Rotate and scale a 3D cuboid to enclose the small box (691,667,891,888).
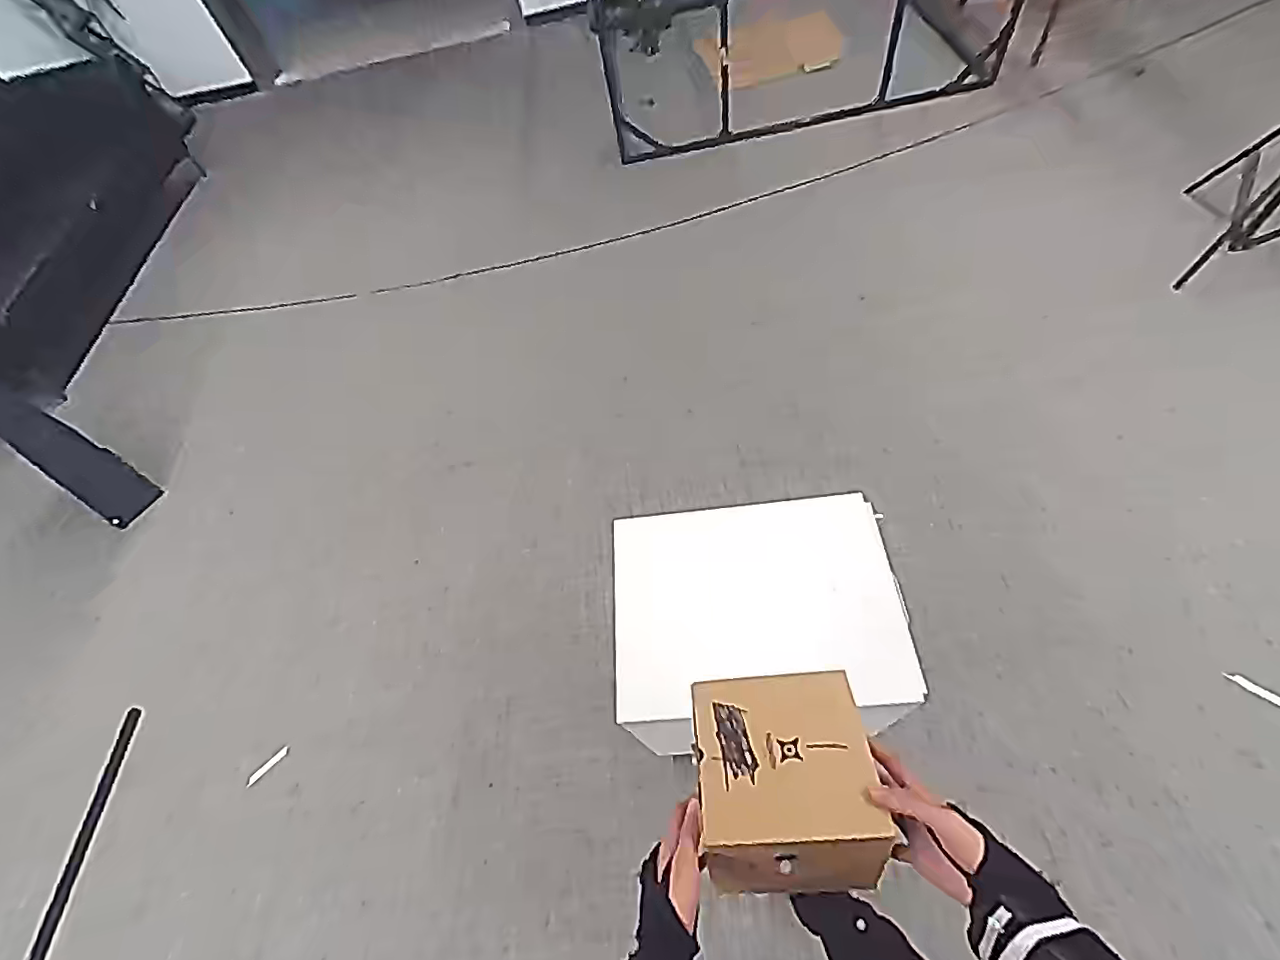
[{"bbox_3d":[0.157,0.335,0.606,0.179,0.176,0.168,-7,39,6],"label":"small box"}]
